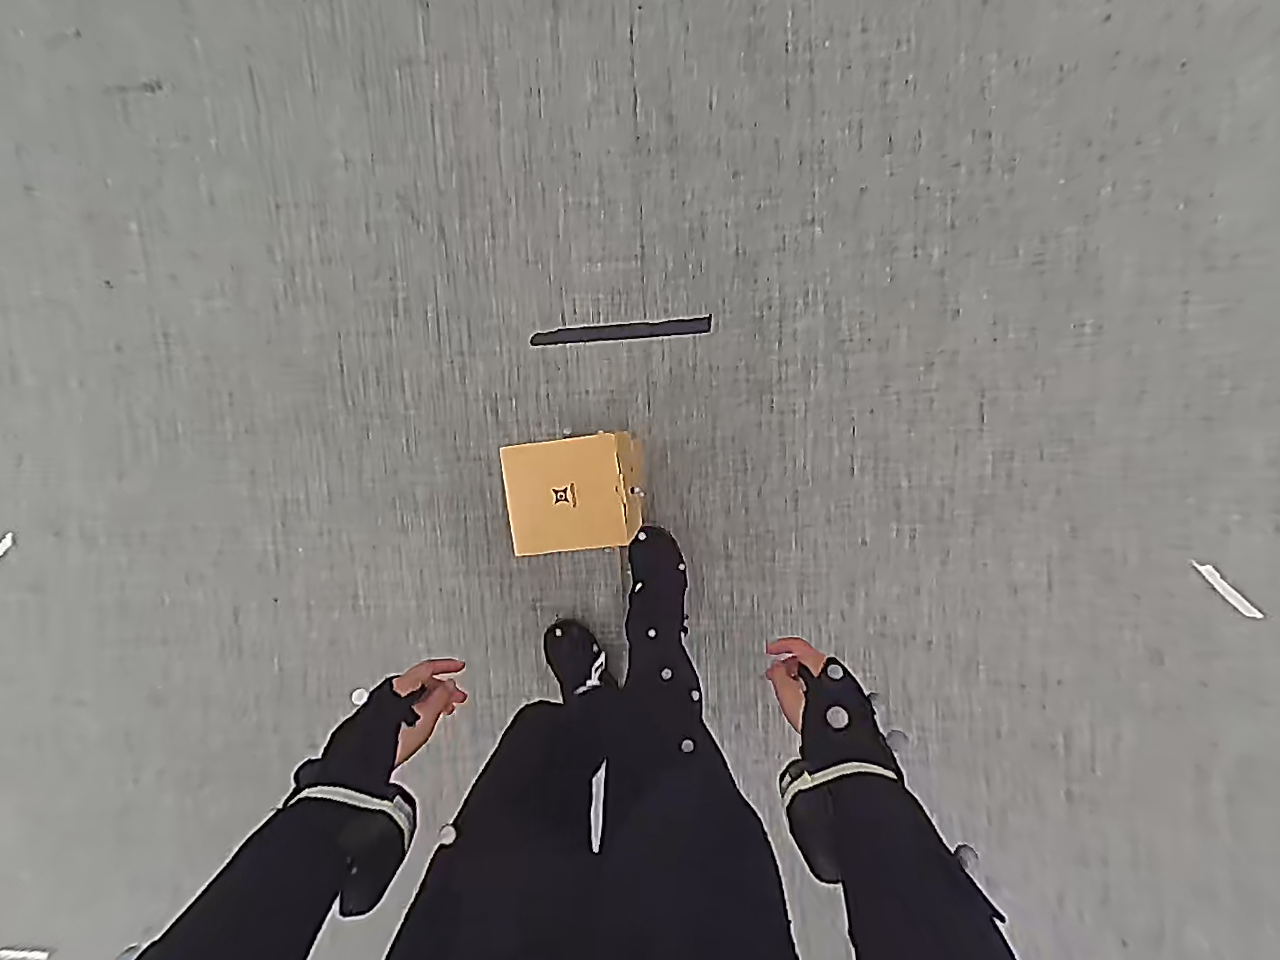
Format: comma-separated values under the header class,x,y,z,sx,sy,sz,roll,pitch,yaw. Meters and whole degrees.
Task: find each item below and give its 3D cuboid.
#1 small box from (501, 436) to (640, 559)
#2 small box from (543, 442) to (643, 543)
class,x,y,z,sx,sy,sz,roll,pitch,yaw
small box,-0.101,0.022,0.865,0.179,0.176,0.168,-7,94,5
small box,-0.083,0.017,1.027,0.168,0.176,0.179,0,94,5
